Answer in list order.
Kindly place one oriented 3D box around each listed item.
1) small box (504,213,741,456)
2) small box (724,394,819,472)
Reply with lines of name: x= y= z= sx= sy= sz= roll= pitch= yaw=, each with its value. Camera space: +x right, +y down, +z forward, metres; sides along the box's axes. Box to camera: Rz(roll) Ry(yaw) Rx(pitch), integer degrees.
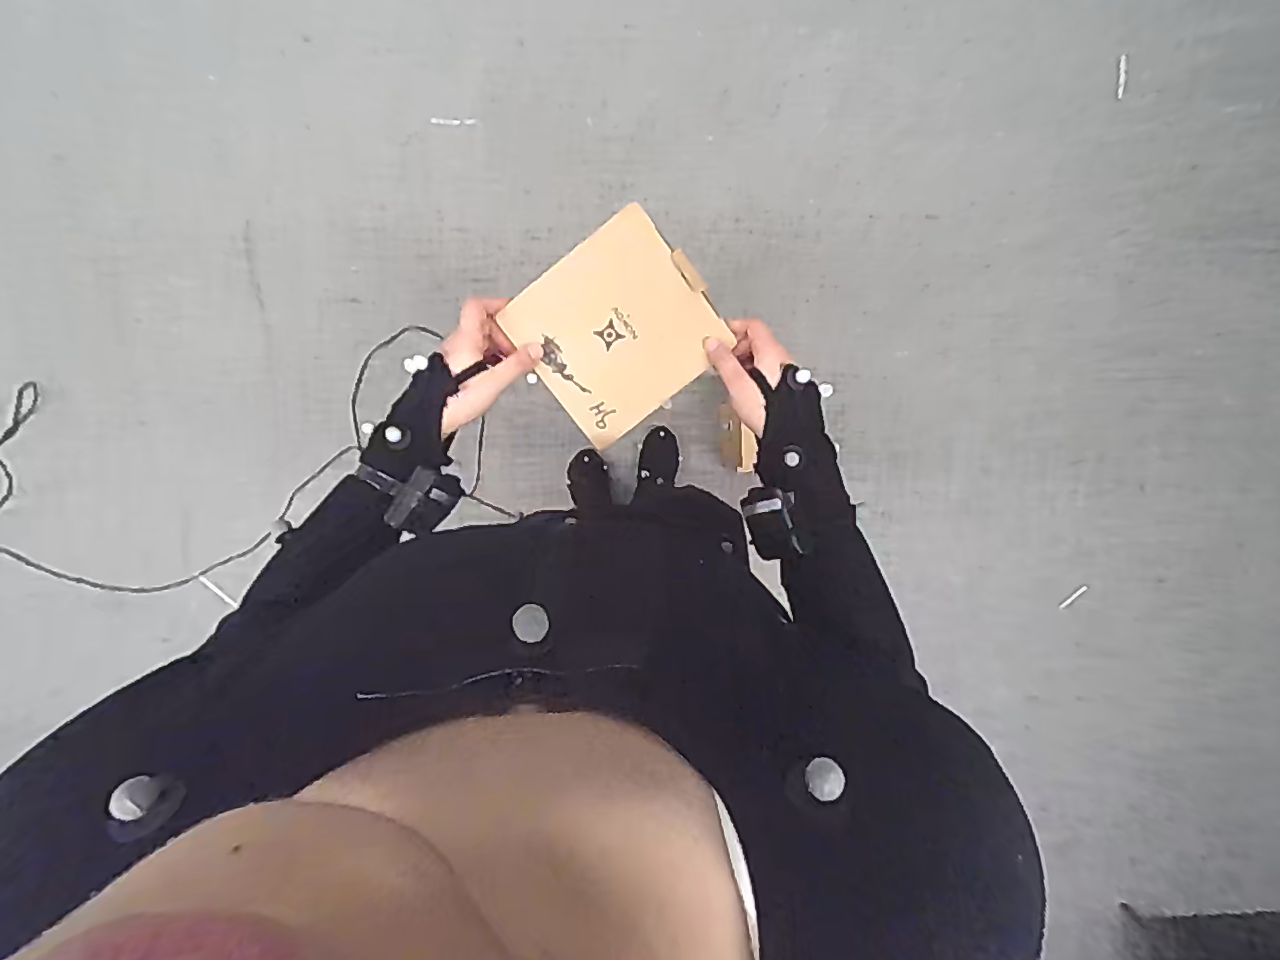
small box: x=-0.019 y=-0.150 z=0.598 sx=0.179 sy=0.176 sz=0.168 roll=-37 pitch=99 yaw=5
small box: x=0.297 y=-0.109 z=1.246 sx=0.179 sy=0.176 sz=0.168 roll=-3 pitch=95 yaw=-1
